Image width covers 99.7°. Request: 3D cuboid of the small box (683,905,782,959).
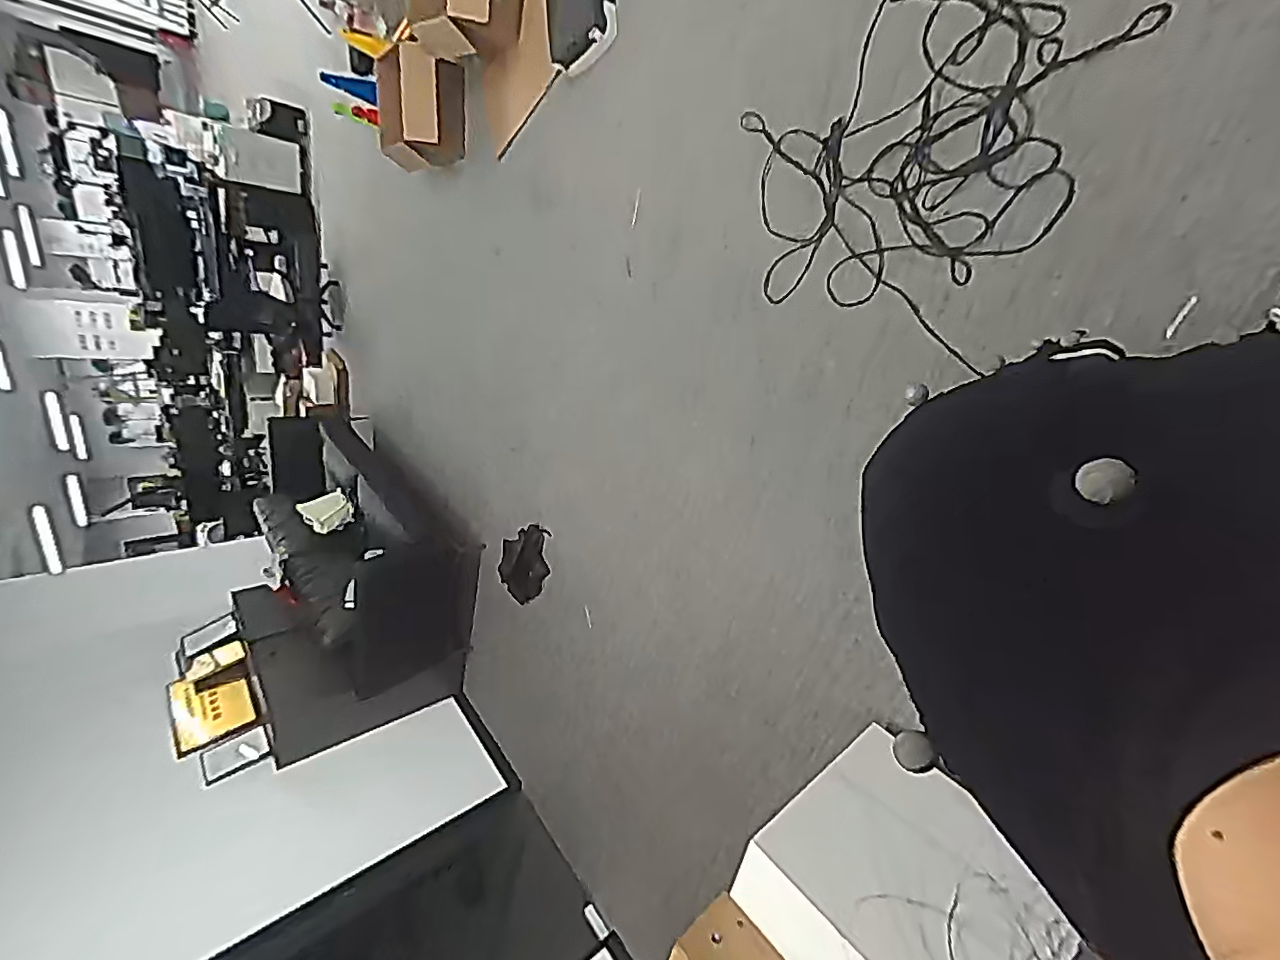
[{"bbox_3d":[0.186,1.023,1.090,0.168,0.176,0.179,31,120,41],"label":"small box"}]
